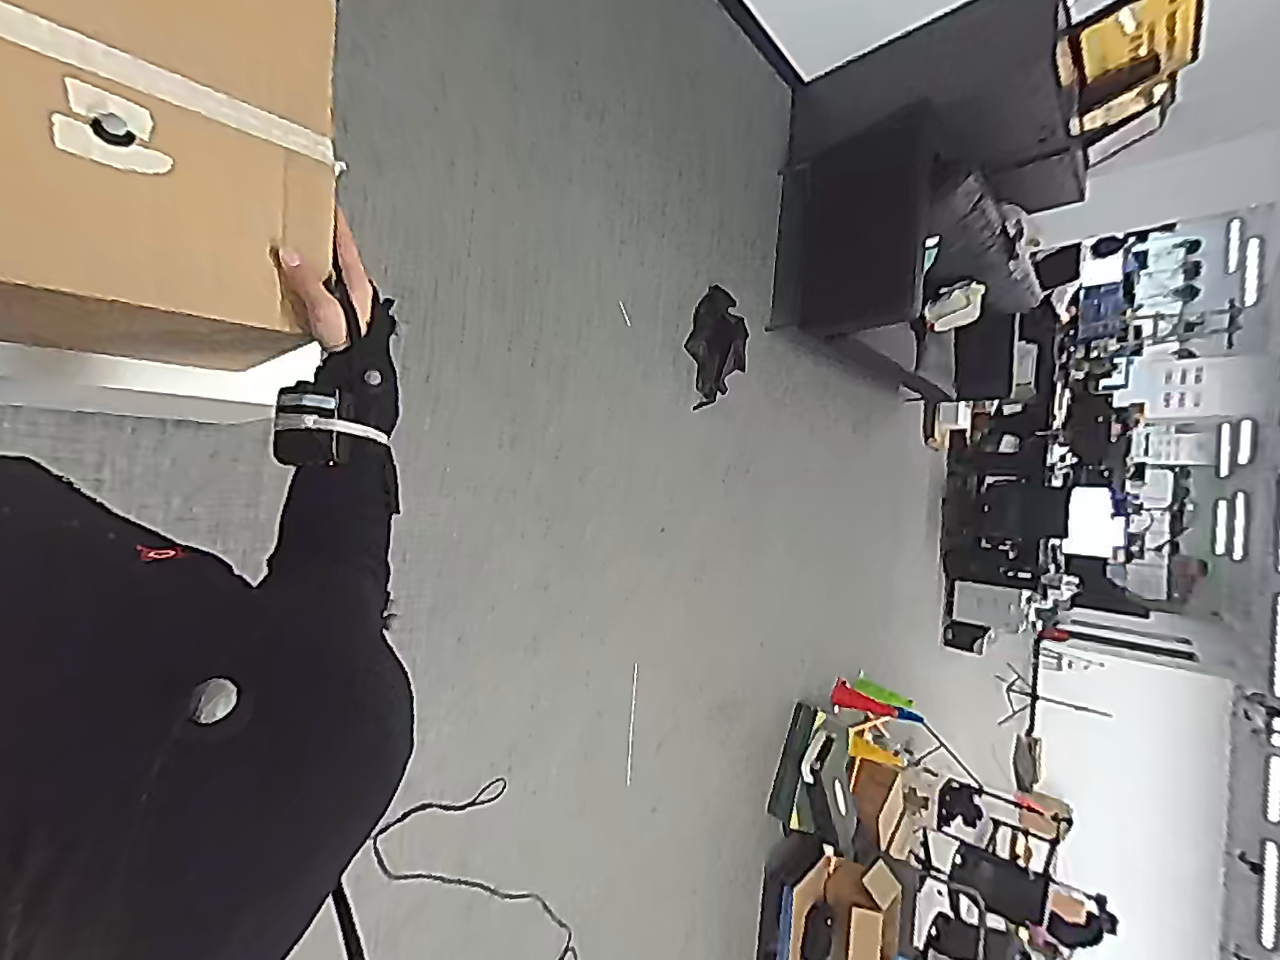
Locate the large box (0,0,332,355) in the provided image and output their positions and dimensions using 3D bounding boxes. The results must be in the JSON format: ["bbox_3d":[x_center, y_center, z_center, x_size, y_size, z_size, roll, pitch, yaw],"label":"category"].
[{"bbox_3d":[-0.514,-0.296,0.421,0.408,0.320,0.320,0,93,-49],"label":"large box"}]
